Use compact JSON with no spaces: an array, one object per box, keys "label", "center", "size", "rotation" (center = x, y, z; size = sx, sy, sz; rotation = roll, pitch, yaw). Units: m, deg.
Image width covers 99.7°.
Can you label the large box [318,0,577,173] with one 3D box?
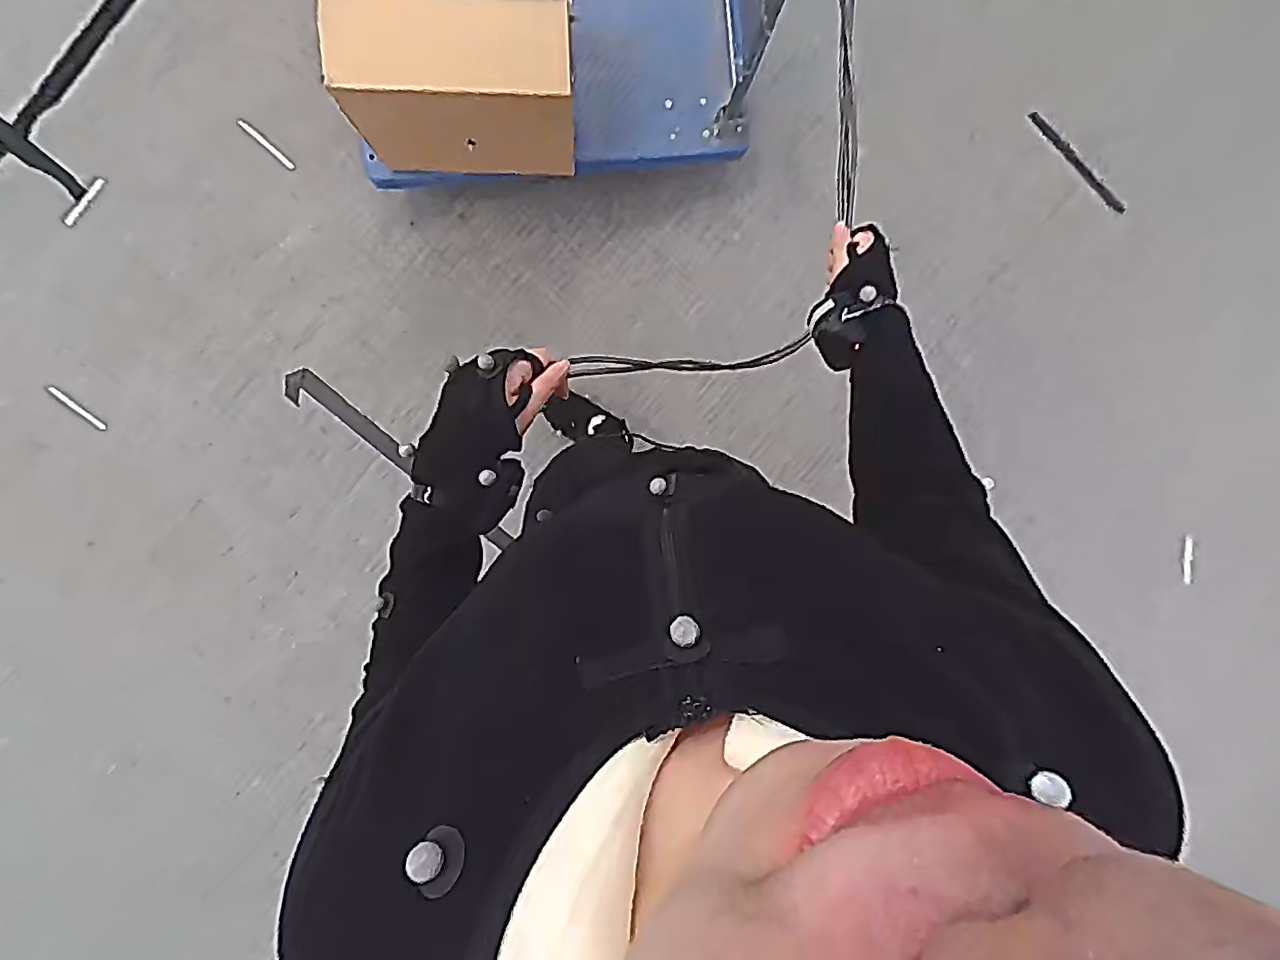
[{"label":"large box","center":[-0.331,-0.809,1.027],"size":[0.408,0.320,0.320],"rotation":[-2,96,-5]}]
